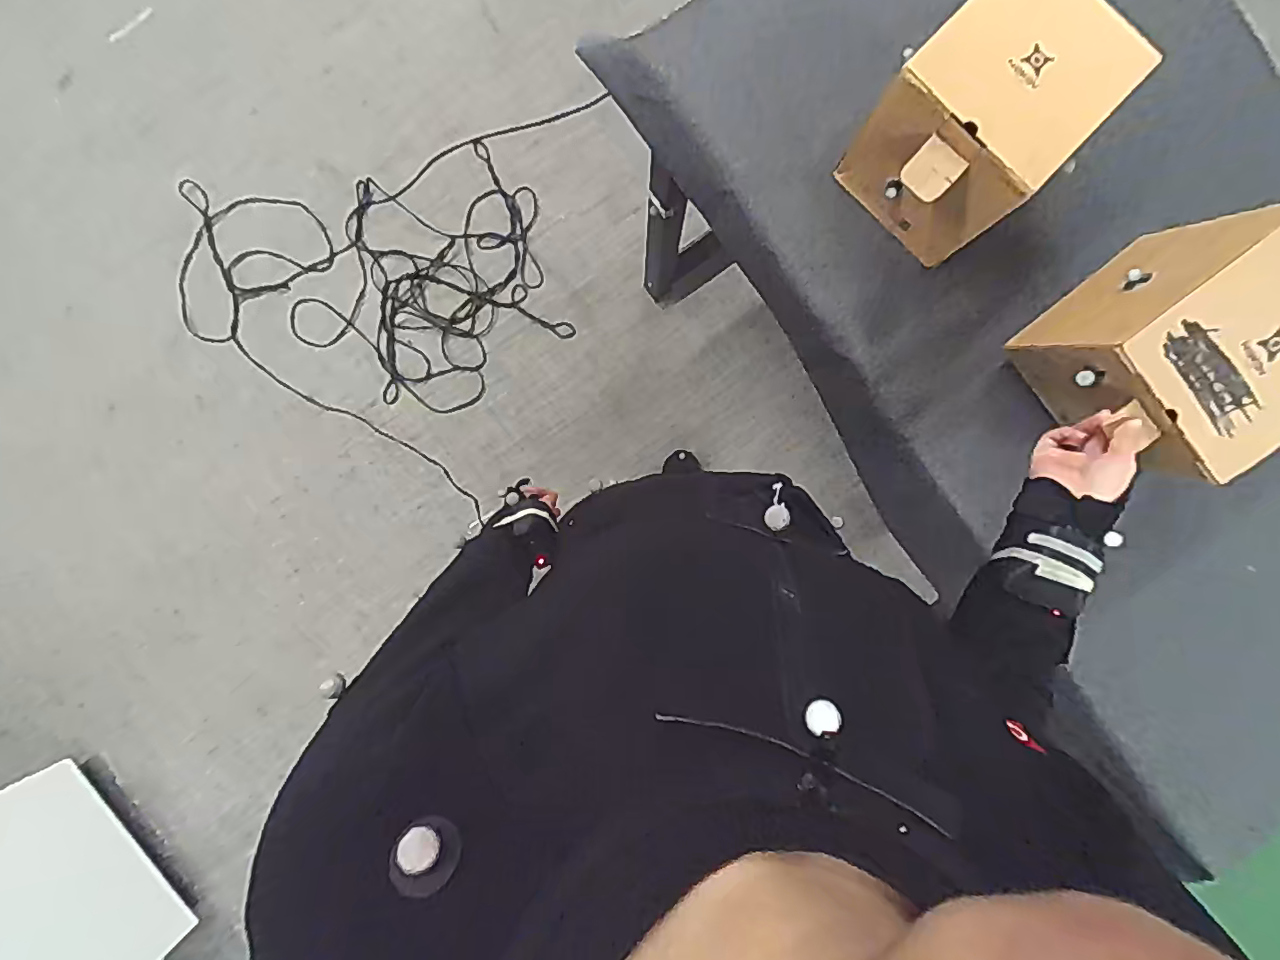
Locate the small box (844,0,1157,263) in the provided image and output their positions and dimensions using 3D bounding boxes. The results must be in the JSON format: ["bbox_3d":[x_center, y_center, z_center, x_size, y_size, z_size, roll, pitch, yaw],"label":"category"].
[{"bbox_3d":[0.351,-0.370,0.565,0.168,0.176,0.179,44,89,0],"label":"small box"}]
